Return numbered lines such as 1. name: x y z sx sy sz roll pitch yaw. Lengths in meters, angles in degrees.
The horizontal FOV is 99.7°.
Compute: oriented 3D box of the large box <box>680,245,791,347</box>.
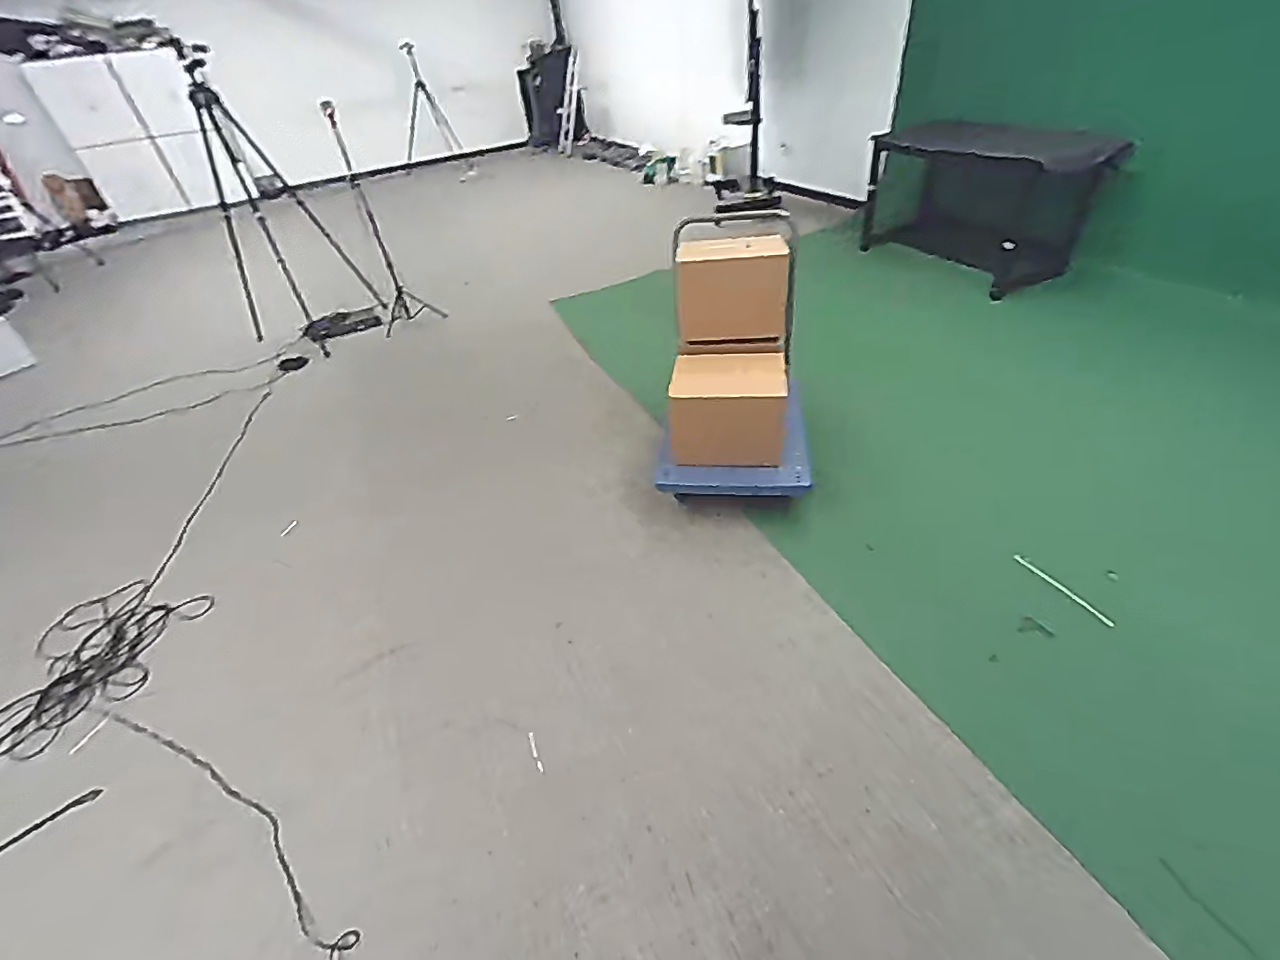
1. large box: 0.367 -0.732 2.147 0.408 0.320 0.320 0 35 8
